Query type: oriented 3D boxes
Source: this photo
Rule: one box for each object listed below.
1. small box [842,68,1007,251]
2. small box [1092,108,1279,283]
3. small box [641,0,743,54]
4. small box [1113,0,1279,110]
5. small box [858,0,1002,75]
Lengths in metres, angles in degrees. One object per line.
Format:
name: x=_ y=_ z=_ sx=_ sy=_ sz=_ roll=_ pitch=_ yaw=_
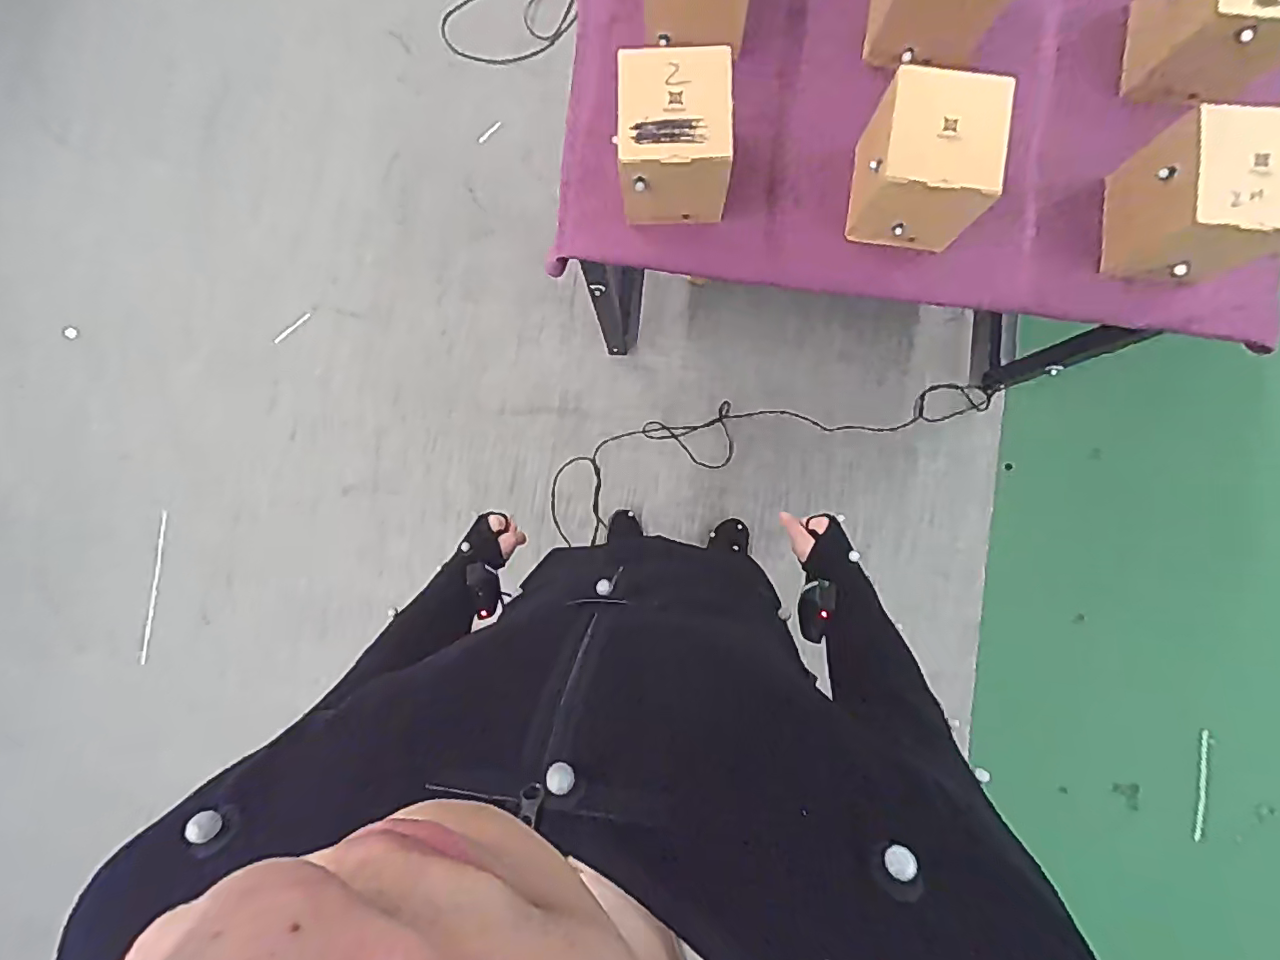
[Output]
small box: x=0.436 y=-0.494 z=0.854 sx=0.168 sy=0.176 sz=0.179 roll=8 pitch=88 yaw=1
small box: x=0.852 y=-0.431 z=0.840 sx=0.168 sy=0.176 sz=0.179 roll=6 pitch=88 yaw=3
small box: x=0.093 y=-0.835 z=0.867 sx=0.168 sy=0.176 sz=0.179 roll=8 pitch=89 yaw=1
small box: x=0.899 y=-0.733 z=0.851 sx=0.168 sy=0.176 sz=0.179 roll=8 pitch=88 yaw=2
small box: x=0.468 y=-0.800 z=0.863 sx=0.168 sy=0.176 sz=0.179 roll=9 pitch=90 yaw=2
